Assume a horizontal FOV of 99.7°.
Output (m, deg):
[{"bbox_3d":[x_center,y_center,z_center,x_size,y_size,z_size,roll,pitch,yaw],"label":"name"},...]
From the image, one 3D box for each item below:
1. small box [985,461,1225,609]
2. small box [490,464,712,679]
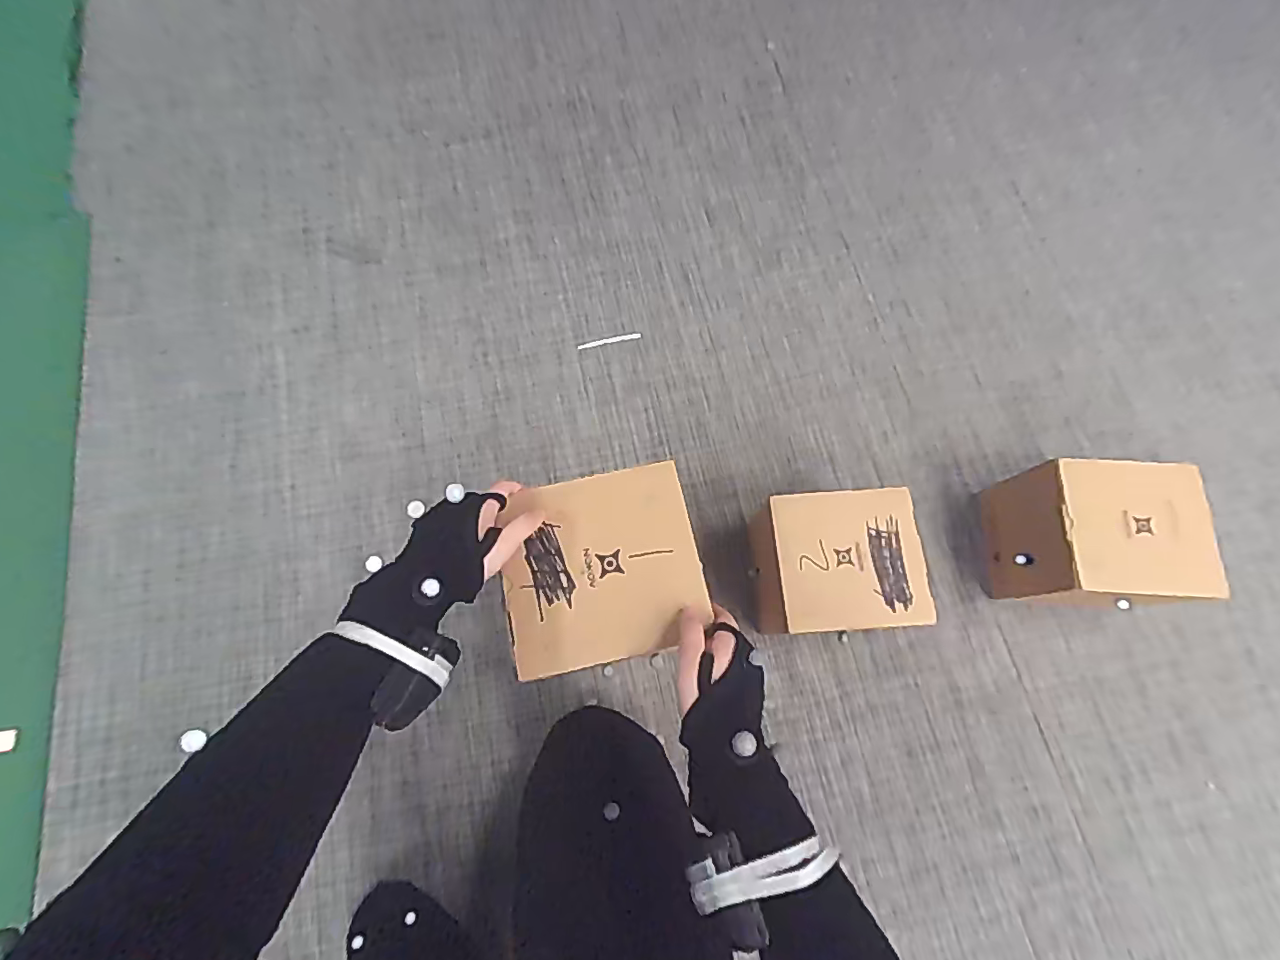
[{"bbox_3d":[0.594,0.082,0.724,0.179,0.176,0.168,3,74,1],"label":"small box"},{"bbox_3d":[-0.037,0.101,0.554,0.179,0.176,0.168,-12,73,-4],"label":"small box"}]
